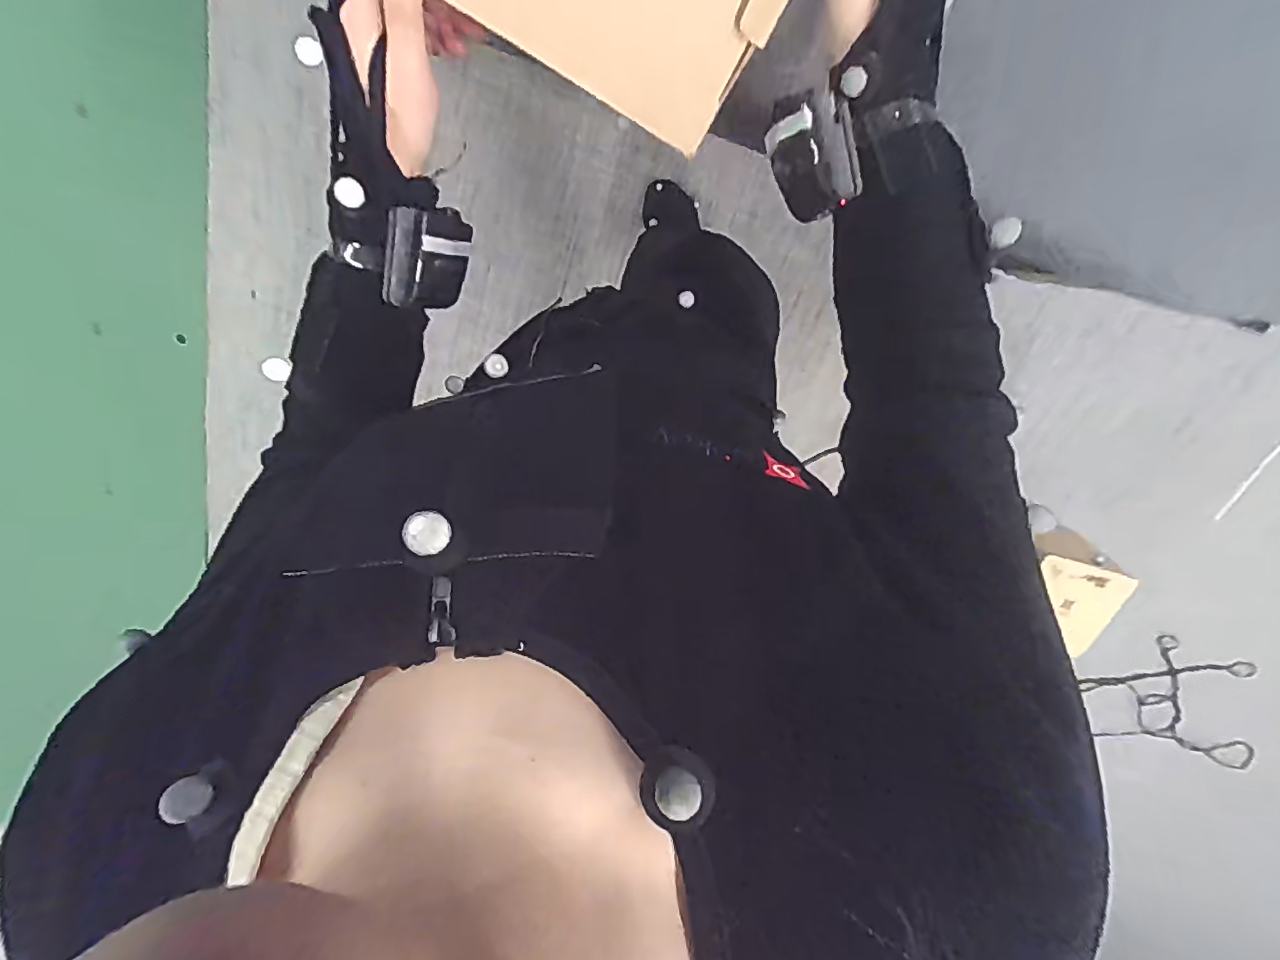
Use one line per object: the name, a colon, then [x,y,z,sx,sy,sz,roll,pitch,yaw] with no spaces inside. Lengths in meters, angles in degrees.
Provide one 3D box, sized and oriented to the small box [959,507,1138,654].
small box: [0.721,0.177,0.986,0.168,0.176,0.179,16,116,-3]
